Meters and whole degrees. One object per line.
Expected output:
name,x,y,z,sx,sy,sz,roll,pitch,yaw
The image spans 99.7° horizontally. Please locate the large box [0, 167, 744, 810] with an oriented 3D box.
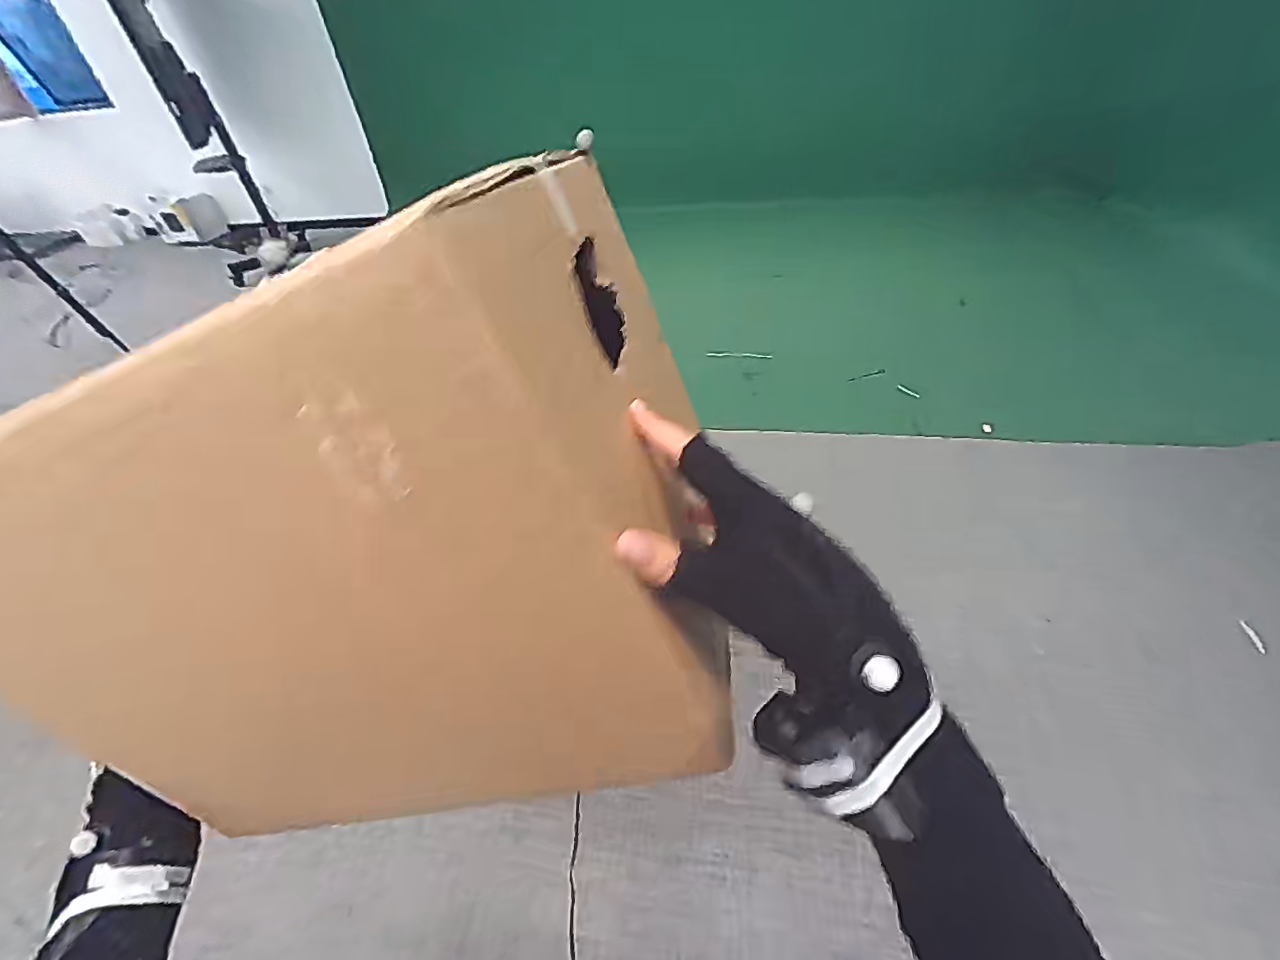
large box,-0.162,0.006,0.424,0.408,0.320,0.320,-15,31,14
